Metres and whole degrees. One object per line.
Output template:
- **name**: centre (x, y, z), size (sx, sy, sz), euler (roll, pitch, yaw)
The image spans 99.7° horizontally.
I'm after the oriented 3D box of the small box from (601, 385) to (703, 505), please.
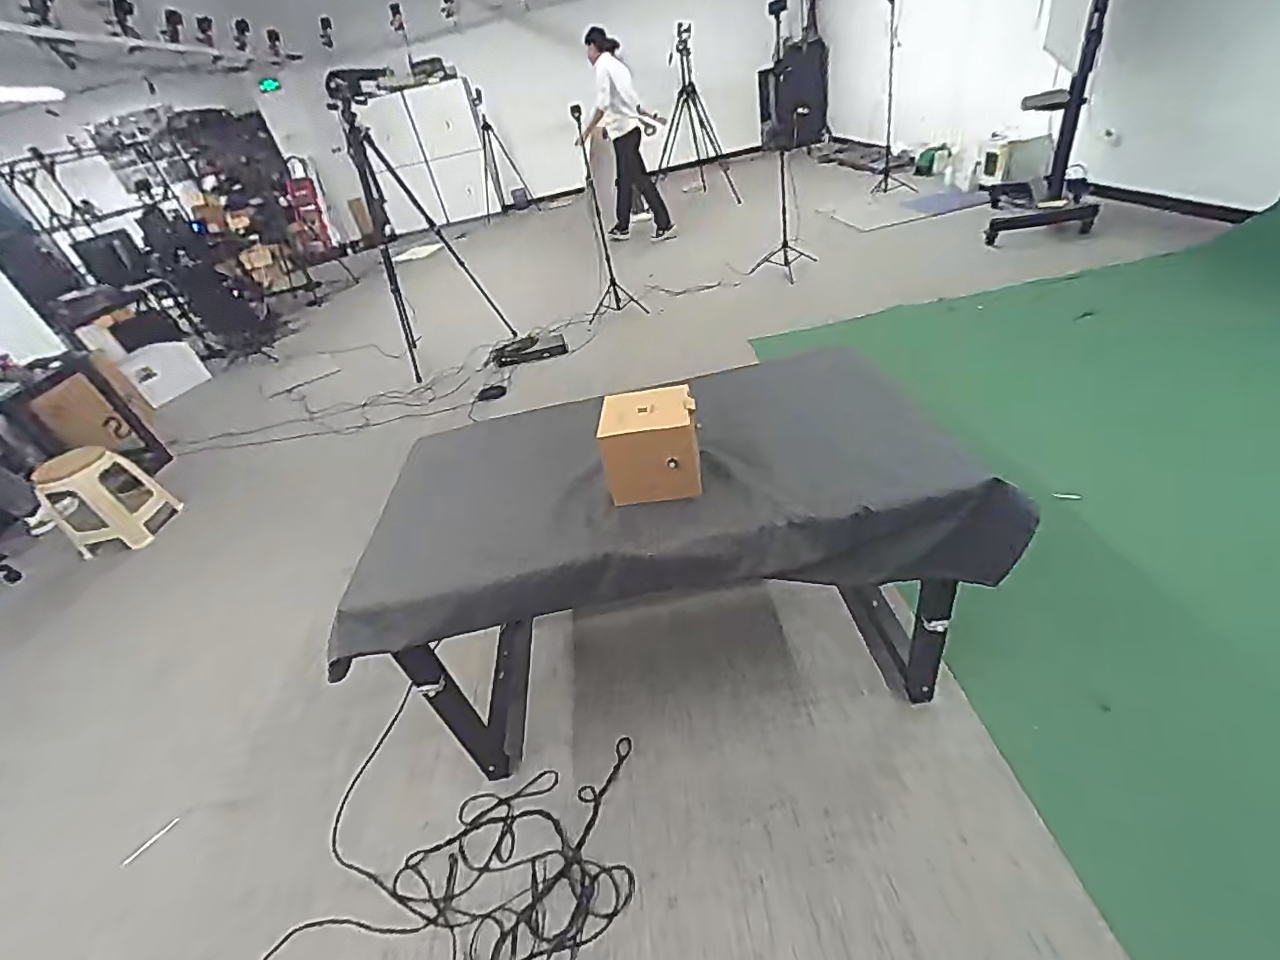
- **small box**: centre (0.032, -0.069, 1.082), size (0.179, 0.176, 0.168), euler (-8, 35, 9)
